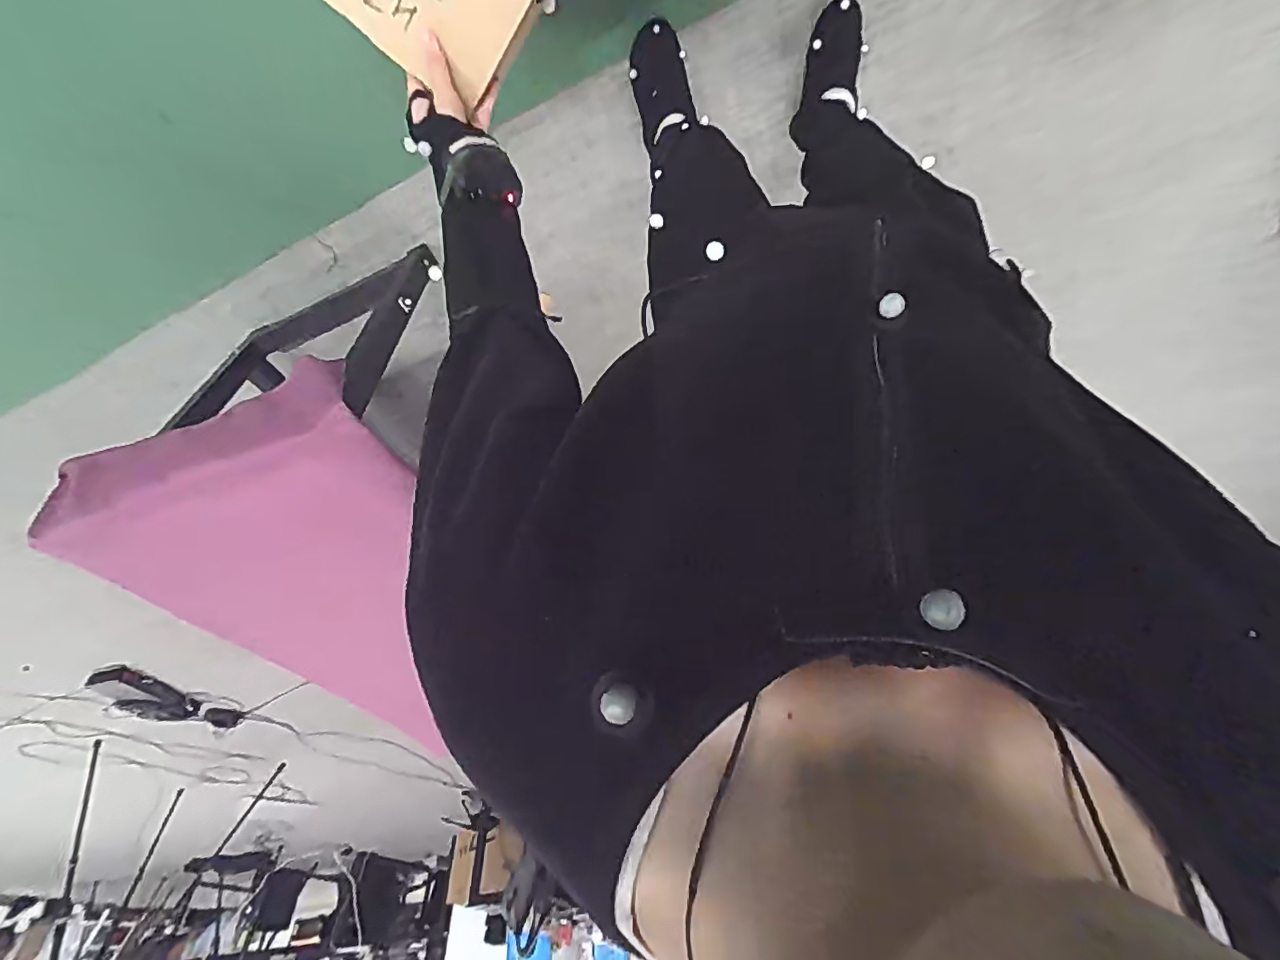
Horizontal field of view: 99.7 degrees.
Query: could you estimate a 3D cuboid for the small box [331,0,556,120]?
[{"bbox_3d":[-0.174,-0.514,0.528,0.168,0.176,0.179,32,136,-27],"label":"small box"}]
